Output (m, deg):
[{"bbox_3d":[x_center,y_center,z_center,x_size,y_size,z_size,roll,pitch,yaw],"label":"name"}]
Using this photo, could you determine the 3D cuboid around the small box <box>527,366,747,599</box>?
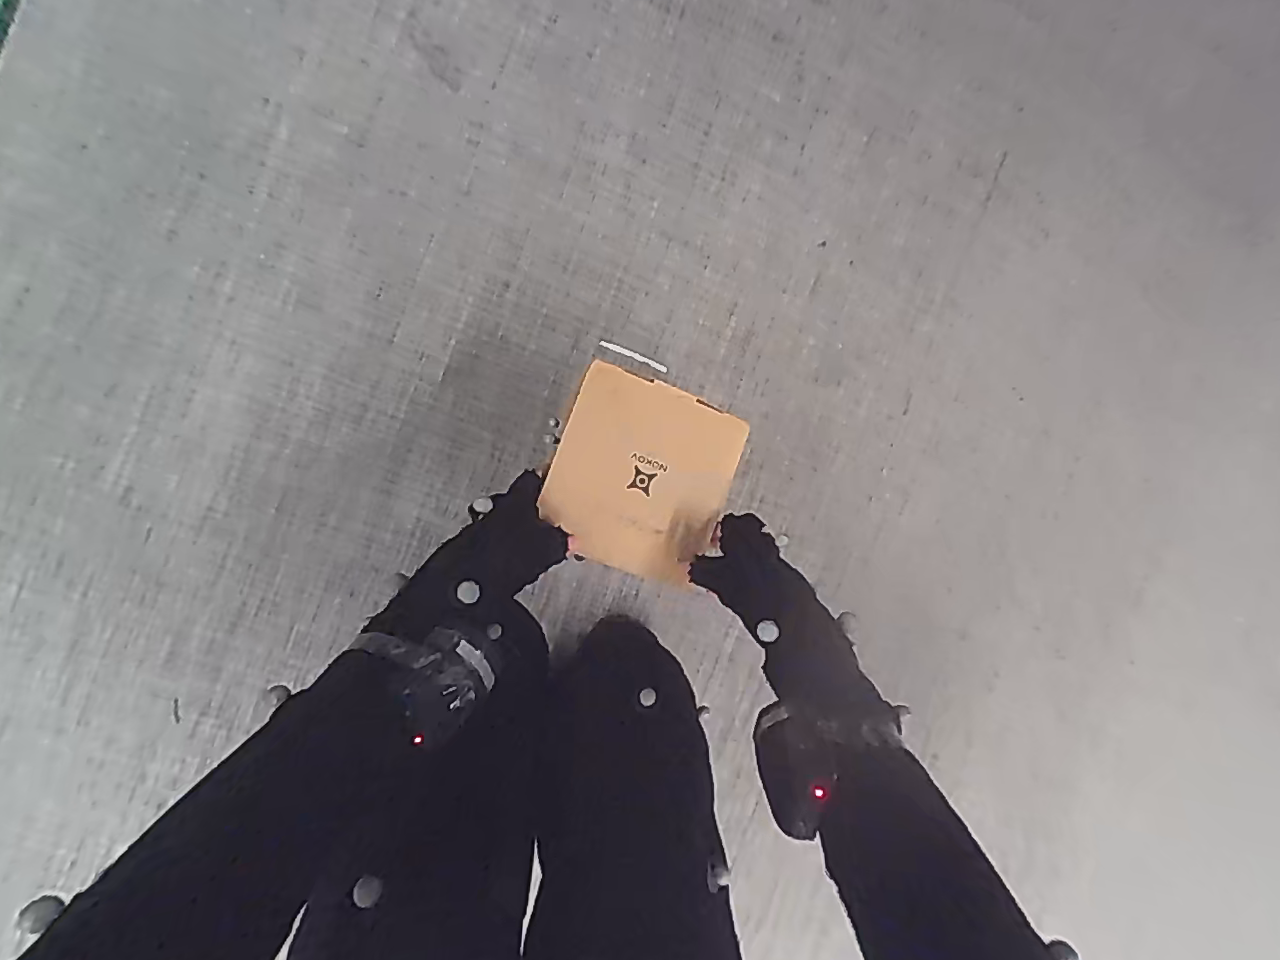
[{"bbox_3d":[-0.015,0.003,0.580,0.168,0.176,0.179,22,87,-10],"label":"small box"}]
